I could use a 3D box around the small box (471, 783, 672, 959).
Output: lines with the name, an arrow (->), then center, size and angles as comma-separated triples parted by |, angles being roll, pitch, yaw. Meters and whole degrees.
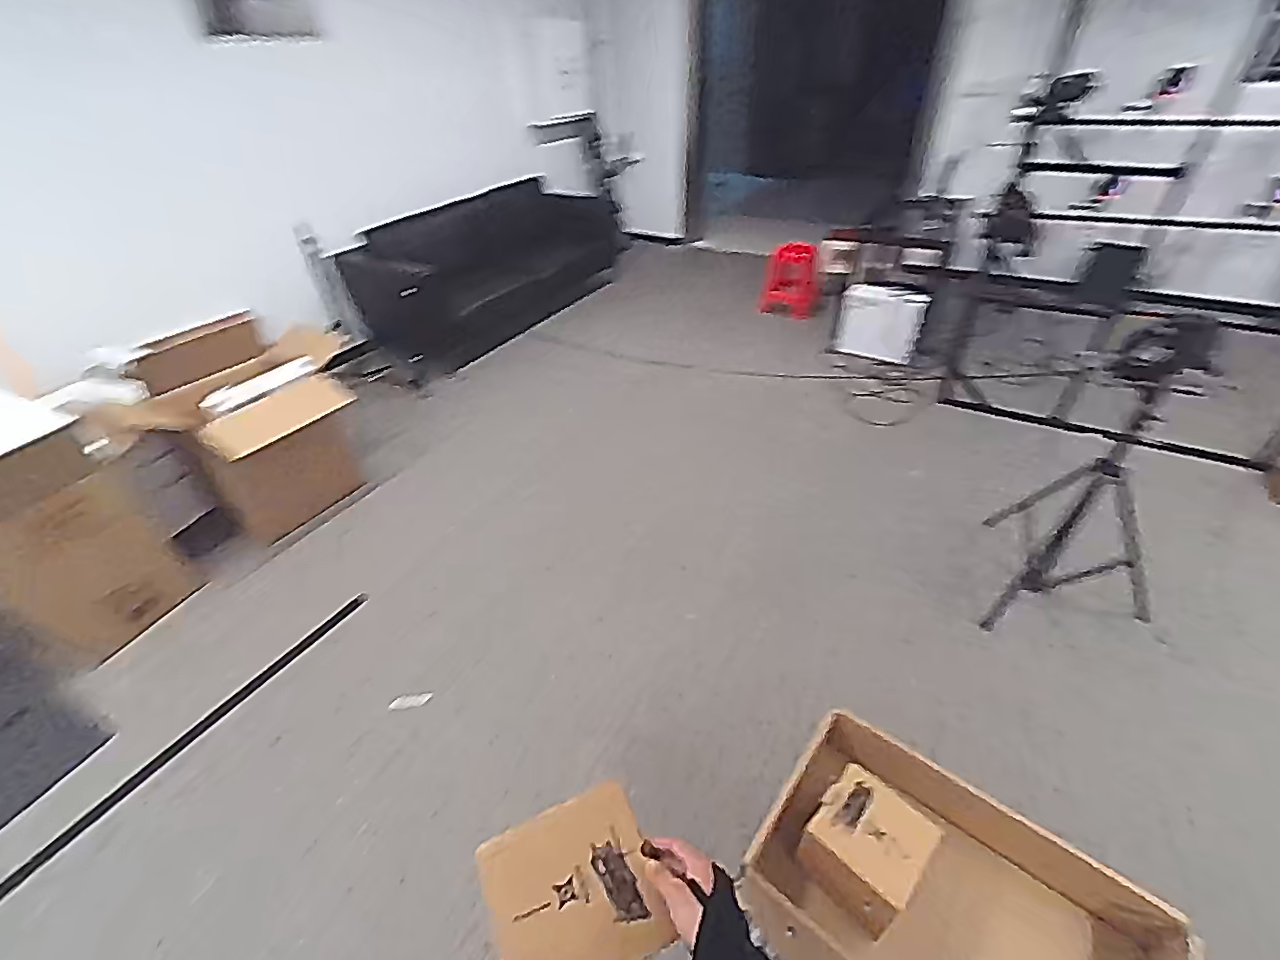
small box -> -0.082, 0.493, 0.635 | 0.179, 0.176, 0.168 | -17, 51, -18
